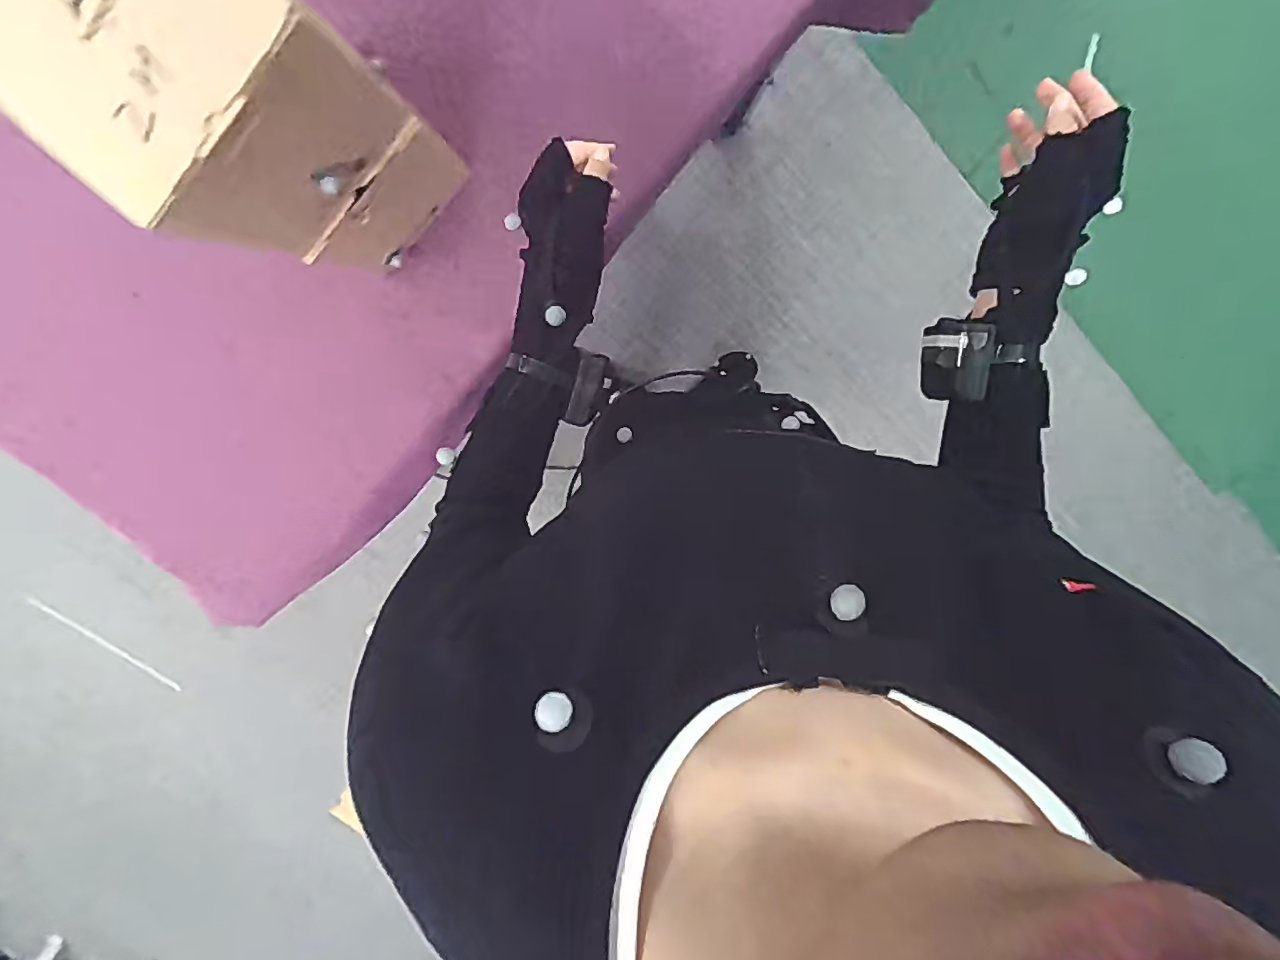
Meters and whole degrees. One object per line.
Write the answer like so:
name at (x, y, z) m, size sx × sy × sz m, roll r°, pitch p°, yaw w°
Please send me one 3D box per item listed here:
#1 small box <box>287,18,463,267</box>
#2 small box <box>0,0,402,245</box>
small box at (-0.313, -0.339, 0.550) m, size 0.168 × 0.176 × 0.179 m, roll -44°, pitch 102°, yaw 10°
small box at (-0.316, -0.298, 0.390) m, size 0.179 × 0.176 × 0.168 m, roll 44°, pitch 101°, yaw -12°
